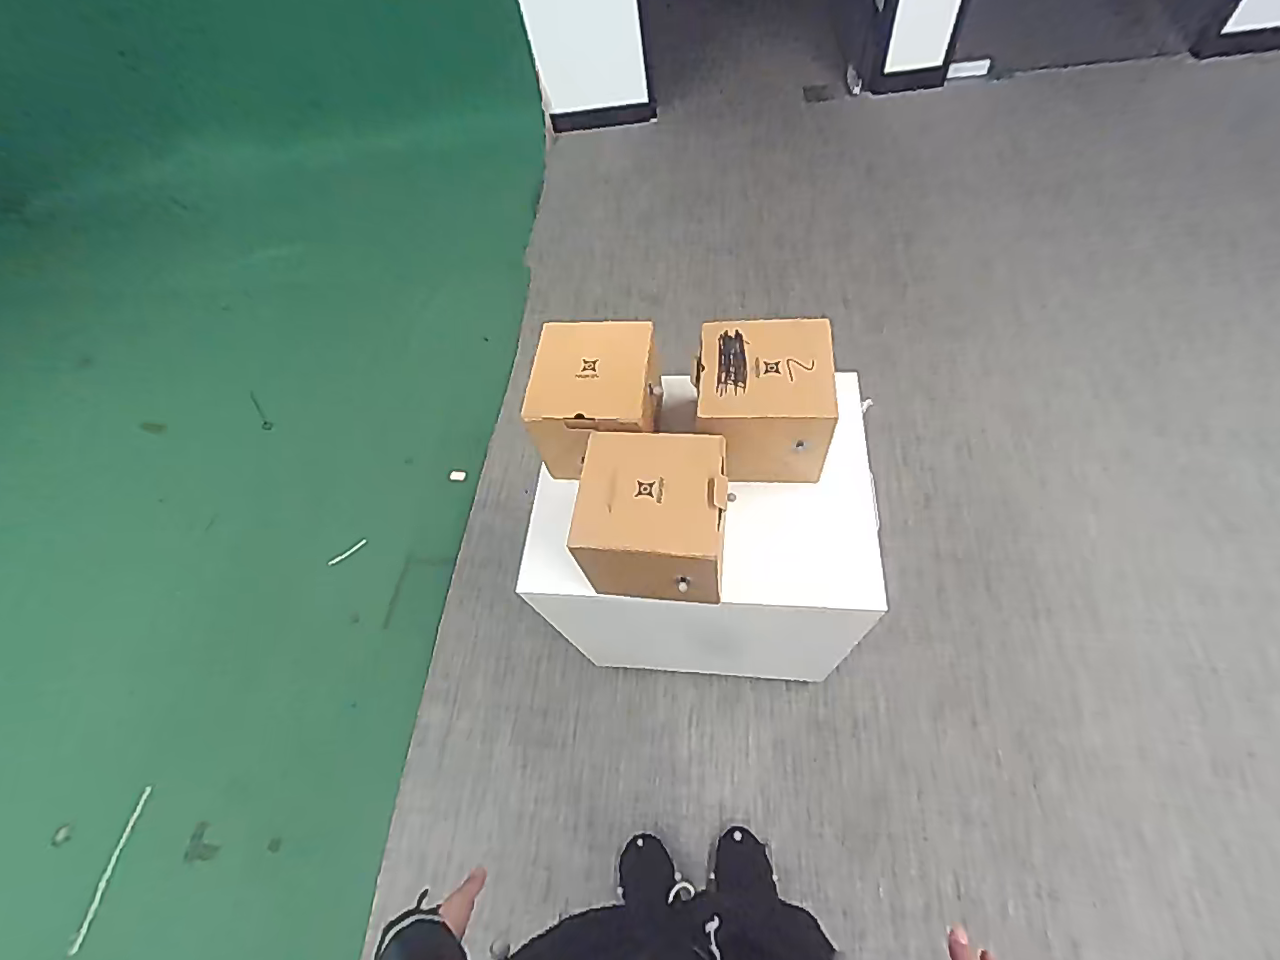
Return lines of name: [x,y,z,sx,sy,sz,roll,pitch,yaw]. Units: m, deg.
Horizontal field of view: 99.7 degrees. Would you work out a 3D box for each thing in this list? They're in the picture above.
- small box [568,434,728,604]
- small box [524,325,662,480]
small box: [0.024,0.056,0.710,0.179,0.176,0.168,2,59,11]
small box: [-0.059,-0.113,0.820,0.168,0.176,0.179,2,62,9]
